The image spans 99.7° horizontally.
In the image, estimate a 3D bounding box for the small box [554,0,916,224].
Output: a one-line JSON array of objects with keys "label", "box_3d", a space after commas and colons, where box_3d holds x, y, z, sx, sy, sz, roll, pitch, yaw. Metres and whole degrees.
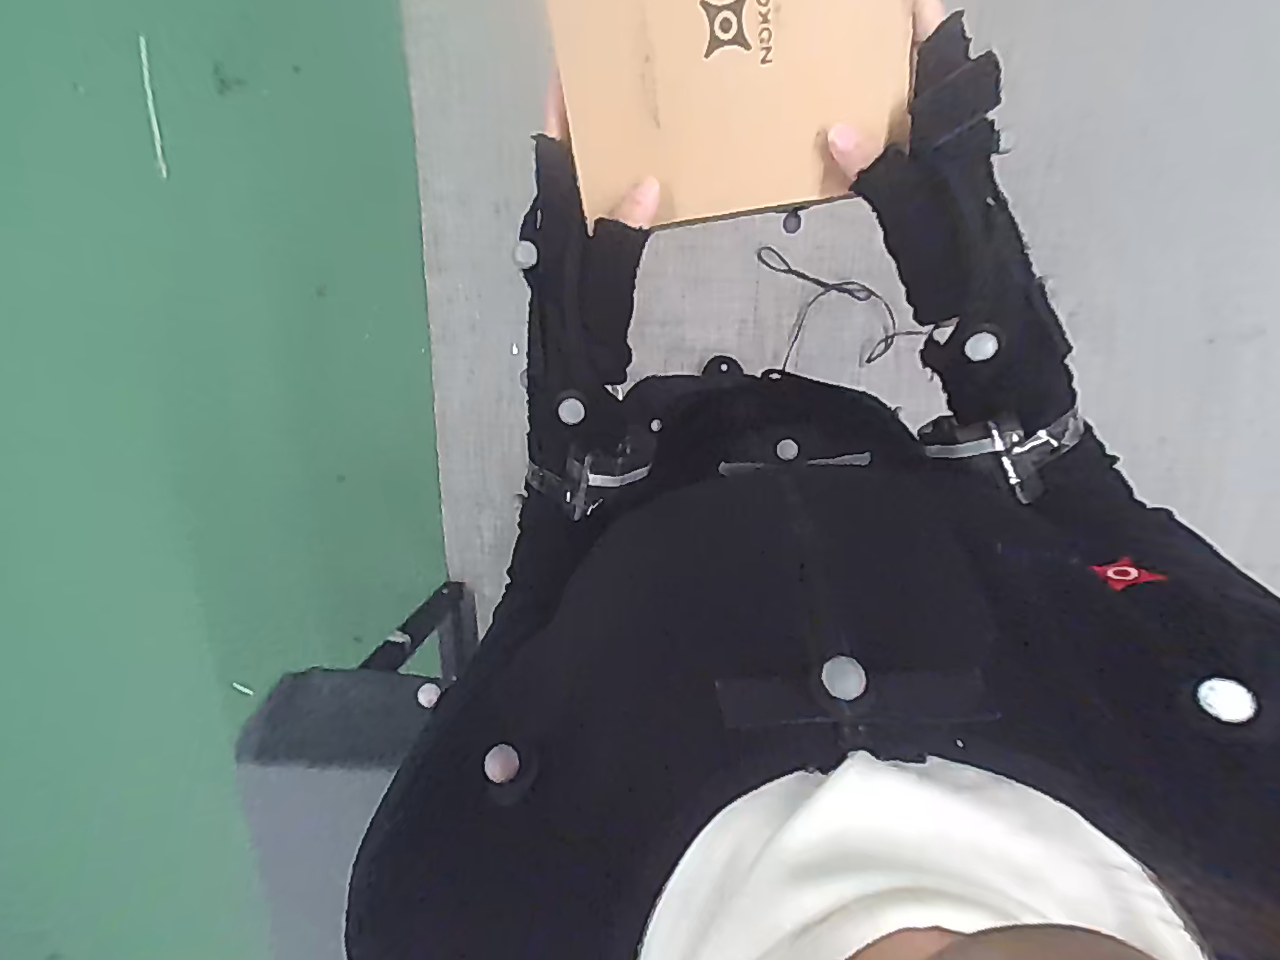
[{"label": "small box", "box_3d": [0.047, -0.262, 0.335, 0.179, 0.176, 0.168, -7, 113, 5]}]
